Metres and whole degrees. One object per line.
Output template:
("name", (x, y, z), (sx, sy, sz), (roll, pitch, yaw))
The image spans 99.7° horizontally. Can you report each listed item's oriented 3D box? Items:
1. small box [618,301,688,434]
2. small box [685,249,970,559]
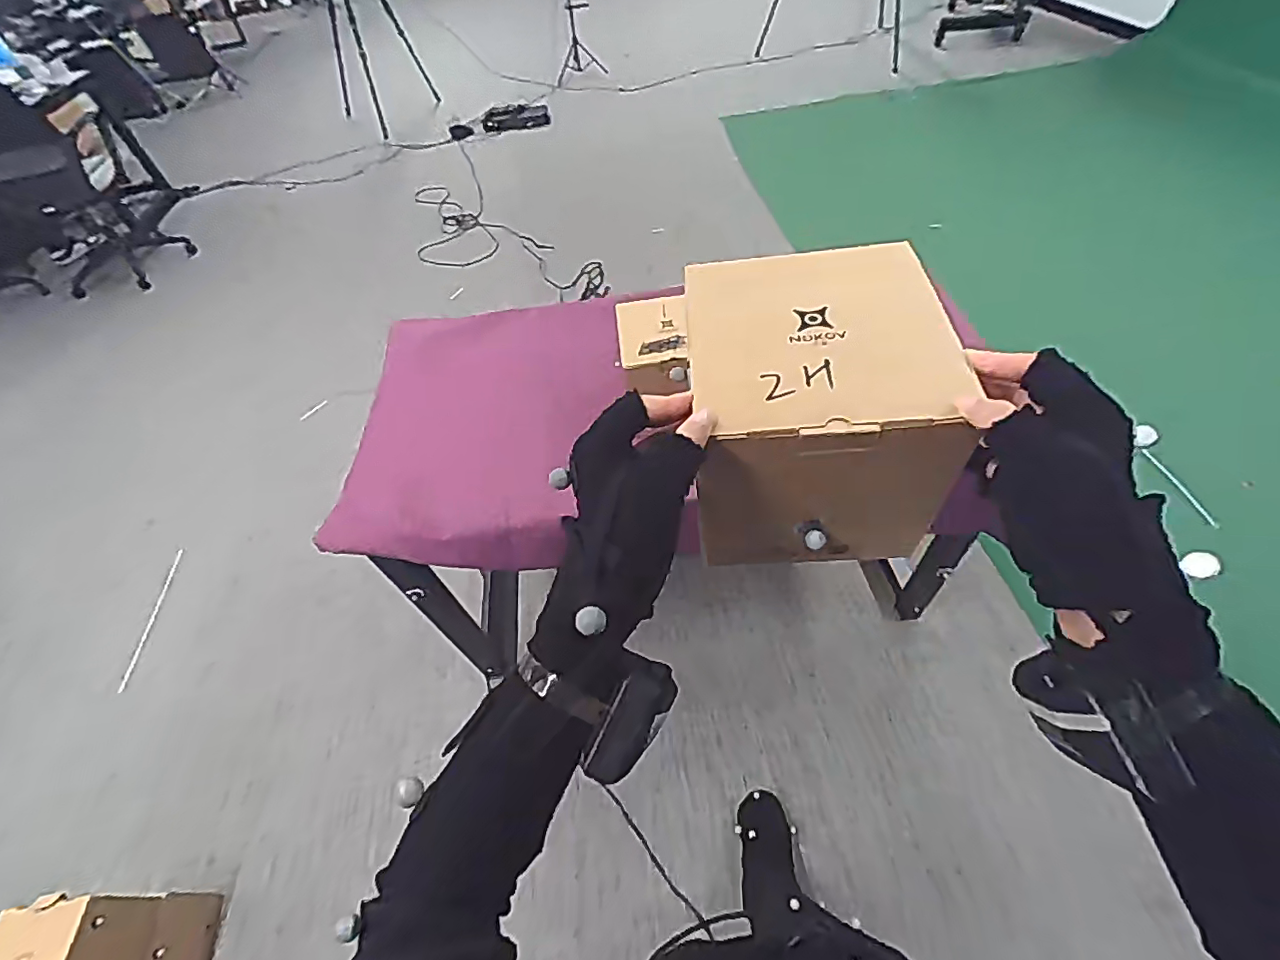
("small box", (0.056, -0.197, 0.976), (0.168, 0.176, 0.179), (-7, 50, 1))
("small box", (0.122, -0.054, 0.431), (0.168, 0.176, 0.179), (-4, 54, 7))
